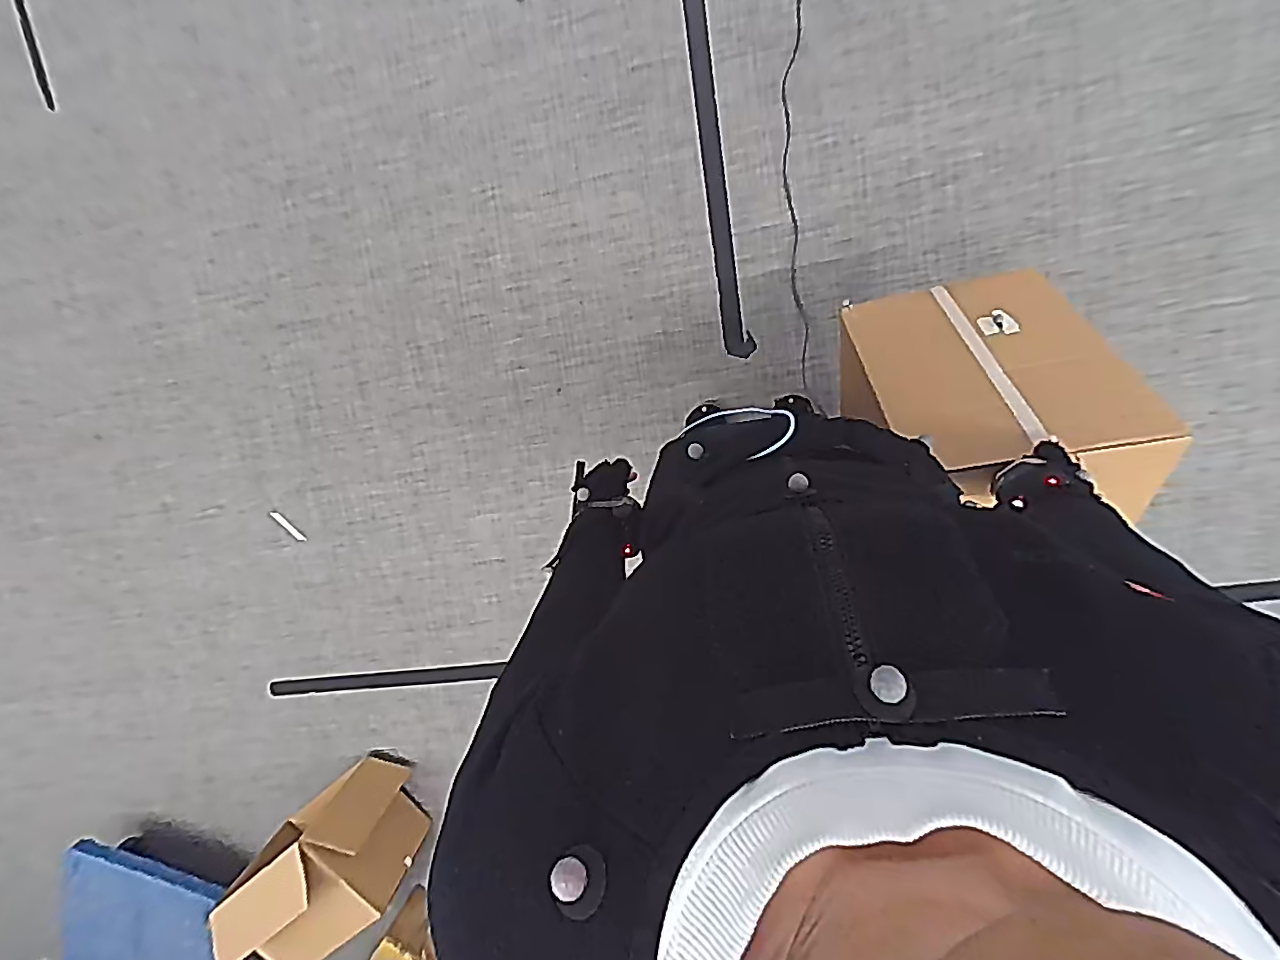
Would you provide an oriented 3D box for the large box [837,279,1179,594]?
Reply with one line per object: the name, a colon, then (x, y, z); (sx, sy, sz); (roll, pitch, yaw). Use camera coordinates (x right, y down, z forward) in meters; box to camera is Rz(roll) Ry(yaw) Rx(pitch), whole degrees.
large box: (0.541, -0.072, 0.914); (0.320, 0.408, 0.320); (-9, 136, 10)
